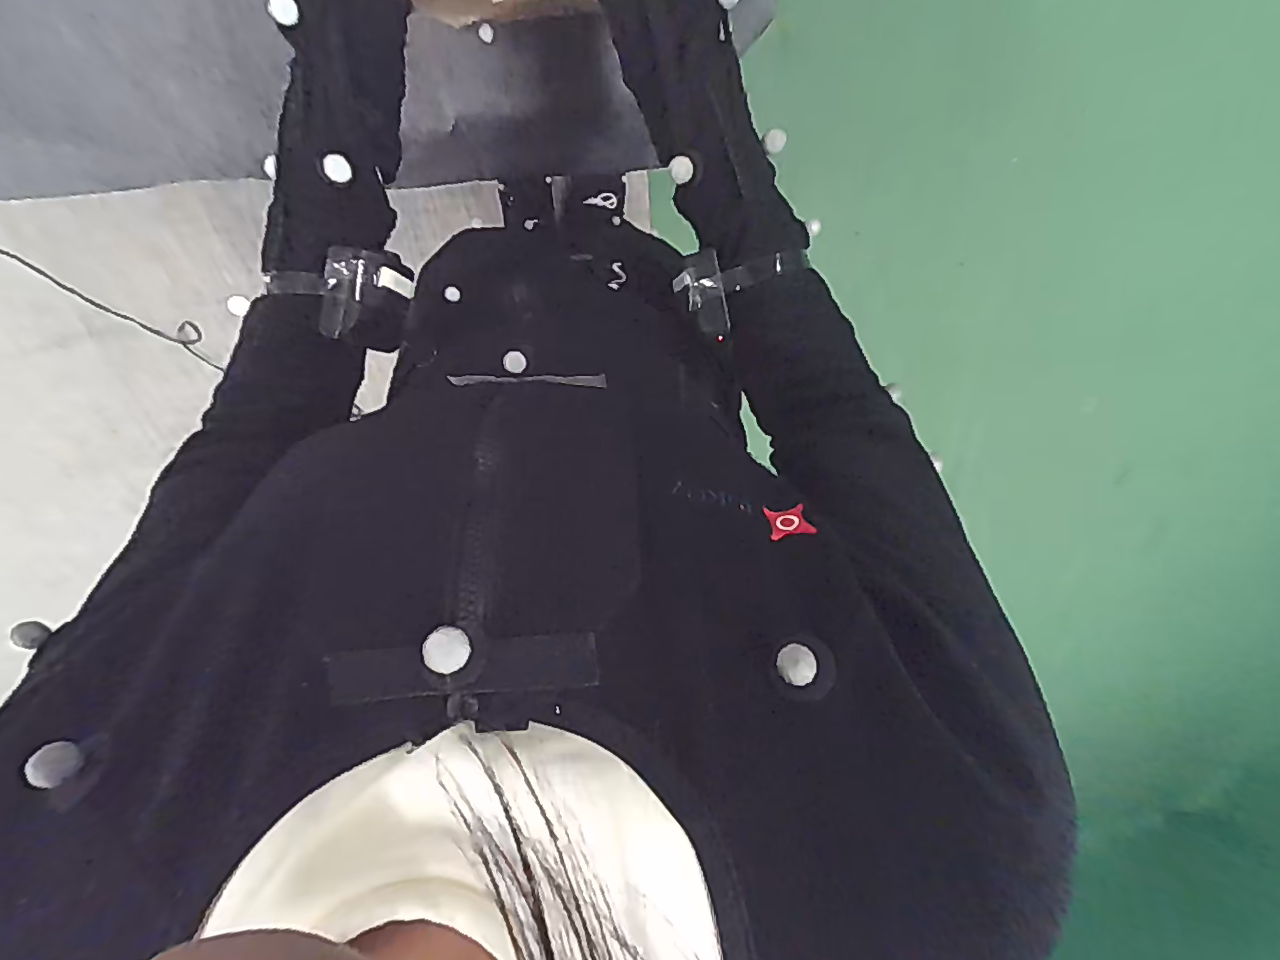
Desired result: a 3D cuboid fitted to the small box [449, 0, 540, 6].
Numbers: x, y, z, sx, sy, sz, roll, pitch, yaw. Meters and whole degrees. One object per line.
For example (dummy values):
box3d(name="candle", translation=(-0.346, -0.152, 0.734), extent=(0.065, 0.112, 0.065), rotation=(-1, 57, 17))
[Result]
box3d(name="small box", translation=(-0.081, -0.422, 0.337), extent=(0.168, 0.176, 0.179), rotation=(-5, 125, 2))

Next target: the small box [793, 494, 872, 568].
box3d(name="small box", translation=(0.602, 0.158, 1.709), extent=(0.179, 0.176, 0.168), rotation=(-5, 125, 0))
